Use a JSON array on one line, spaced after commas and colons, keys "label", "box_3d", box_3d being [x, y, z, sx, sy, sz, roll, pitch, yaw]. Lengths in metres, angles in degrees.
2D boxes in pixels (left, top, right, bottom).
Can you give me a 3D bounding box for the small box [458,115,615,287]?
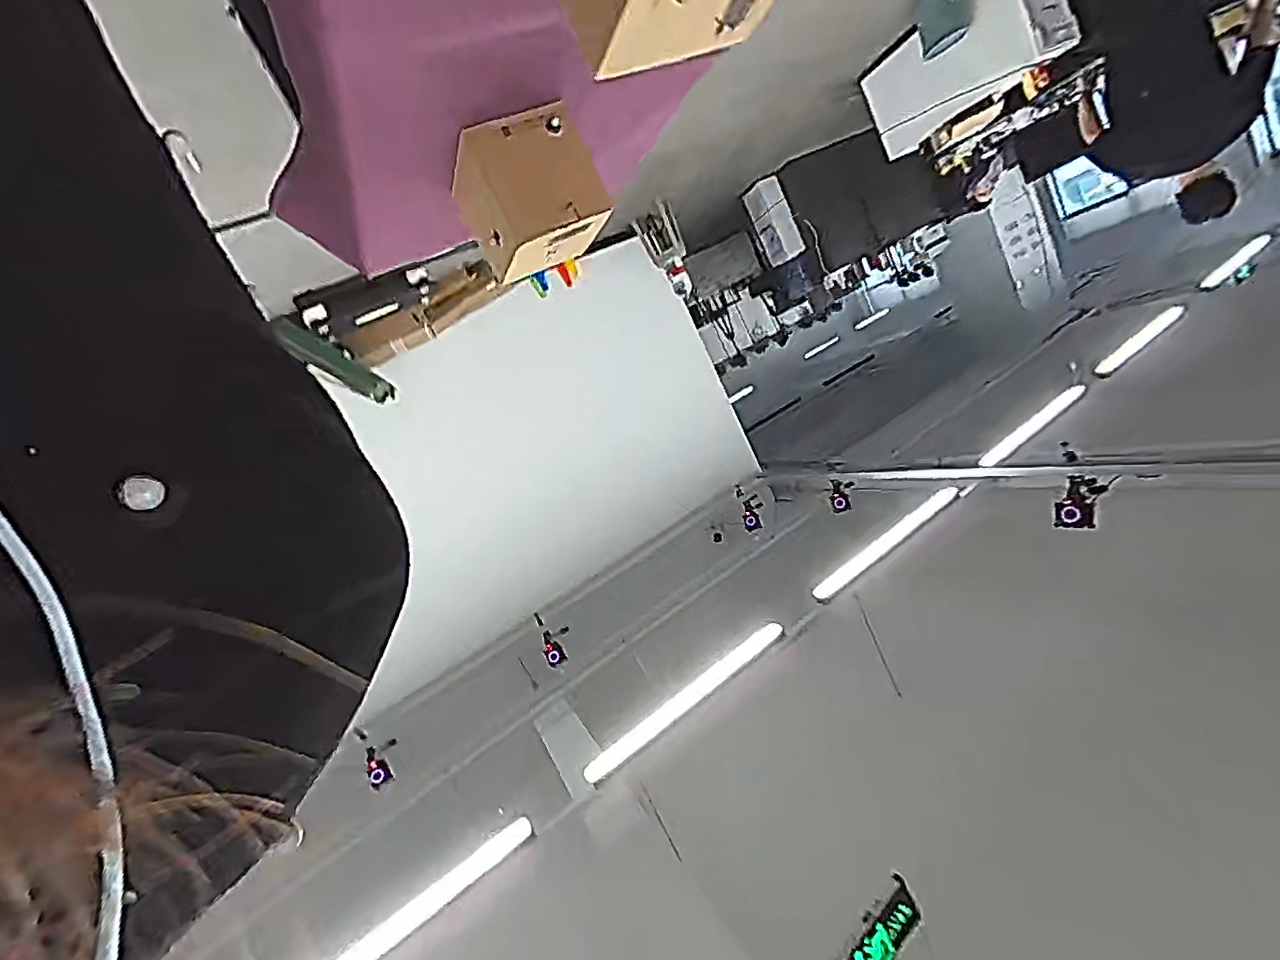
[{"label": "small box", "box_3d": [-0.169, -0.439, 0.852, 0.168, 0.176, 0.179, -31, -169, -20]}]
